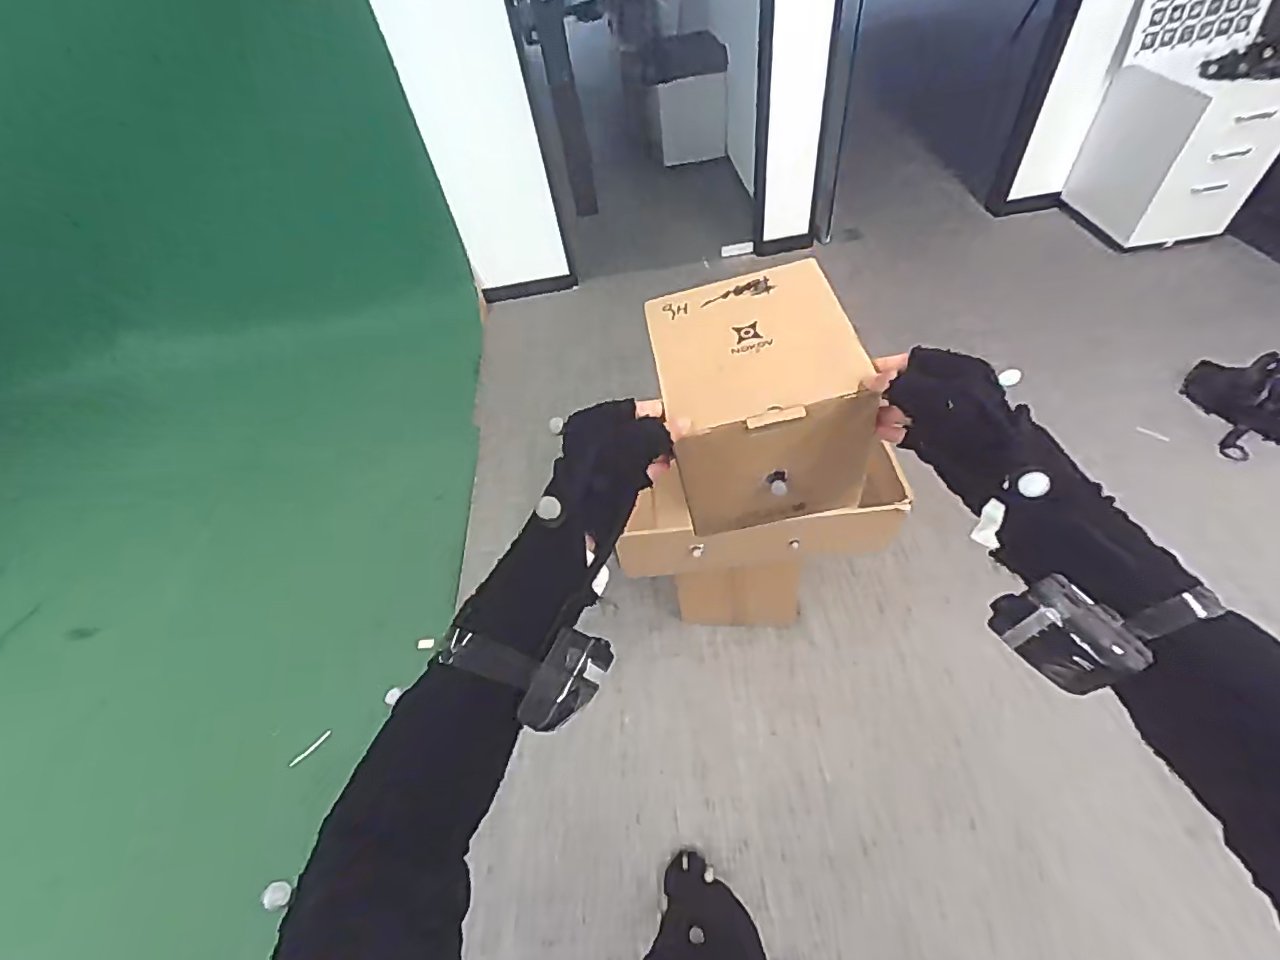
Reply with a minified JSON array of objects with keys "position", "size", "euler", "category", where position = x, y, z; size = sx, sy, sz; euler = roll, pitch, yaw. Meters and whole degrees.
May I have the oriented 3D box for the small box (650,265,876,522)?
[{"position":[0.114,-0.073,0.536],"size":[0.168,0.176,0.179],"euler":[-12,55,6],"category":"small box"}]
